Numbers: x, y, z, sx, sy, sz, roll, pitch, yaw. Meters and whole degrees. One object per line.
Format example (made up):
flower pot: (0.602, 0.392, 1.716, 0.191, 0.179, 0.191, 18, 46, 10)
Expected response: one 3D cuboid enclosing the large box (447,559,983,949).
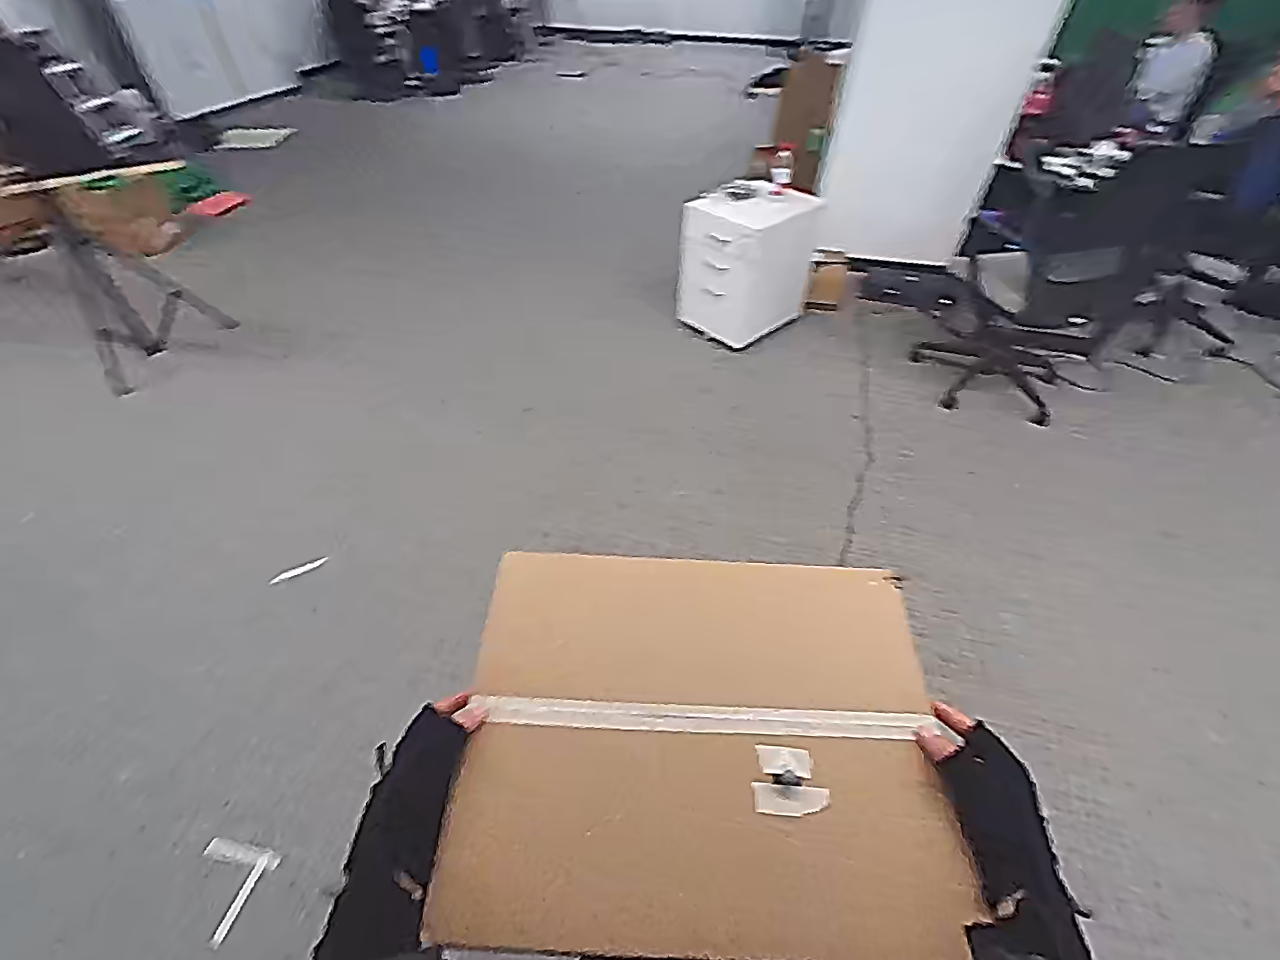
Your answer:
large box: (0.052, 0.304, 0.599, 0.408, 0.320, 0.320, 3, 52, -1)
